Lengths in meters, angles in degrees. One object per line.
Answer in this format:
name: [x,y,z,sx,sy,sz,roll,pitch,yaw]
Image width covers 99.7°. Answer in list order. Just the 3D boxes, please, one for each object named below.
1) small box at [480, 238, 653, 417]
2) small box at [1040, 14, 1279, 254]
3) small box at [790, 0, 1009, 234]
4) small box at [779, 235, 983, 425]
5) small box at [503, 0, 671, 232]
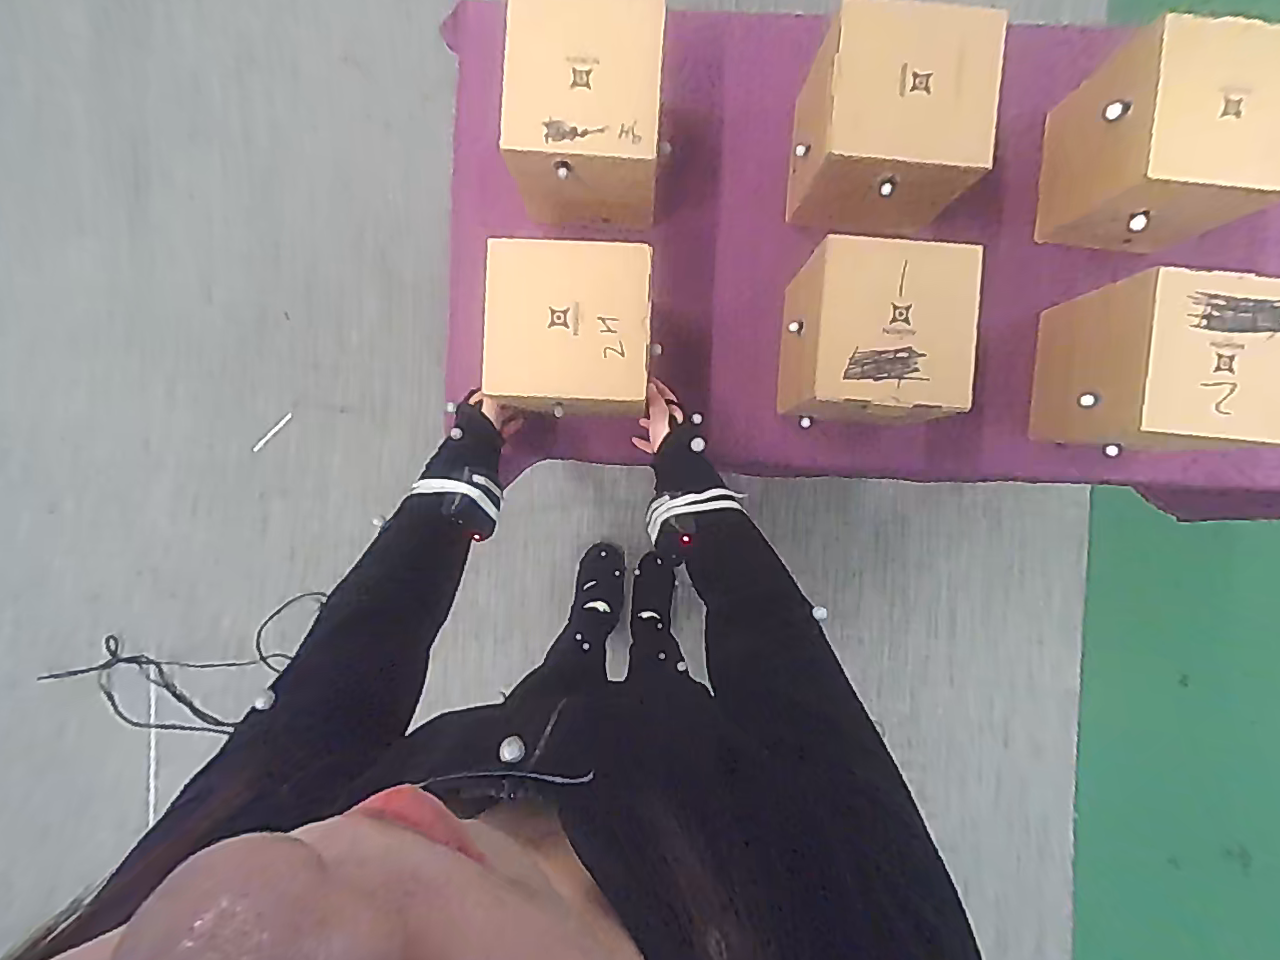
small box: [-0.077,-0.168,0.646,0.179,0.176,0.168,3,91,0]
small box: [0.616,-0.389,0.638,0.168,0.176,0.179,6,90,1]
small box: [0.289,-0.413,0.642,0.179,0.176,0.168,6,91,0]
small box: [0.270,-0.163,0.643,0.168,0.176,0.179,5,89,1]
small box: [-0.056,-0.426,0.644,0.168,0.176,0.179,4,90,0]
